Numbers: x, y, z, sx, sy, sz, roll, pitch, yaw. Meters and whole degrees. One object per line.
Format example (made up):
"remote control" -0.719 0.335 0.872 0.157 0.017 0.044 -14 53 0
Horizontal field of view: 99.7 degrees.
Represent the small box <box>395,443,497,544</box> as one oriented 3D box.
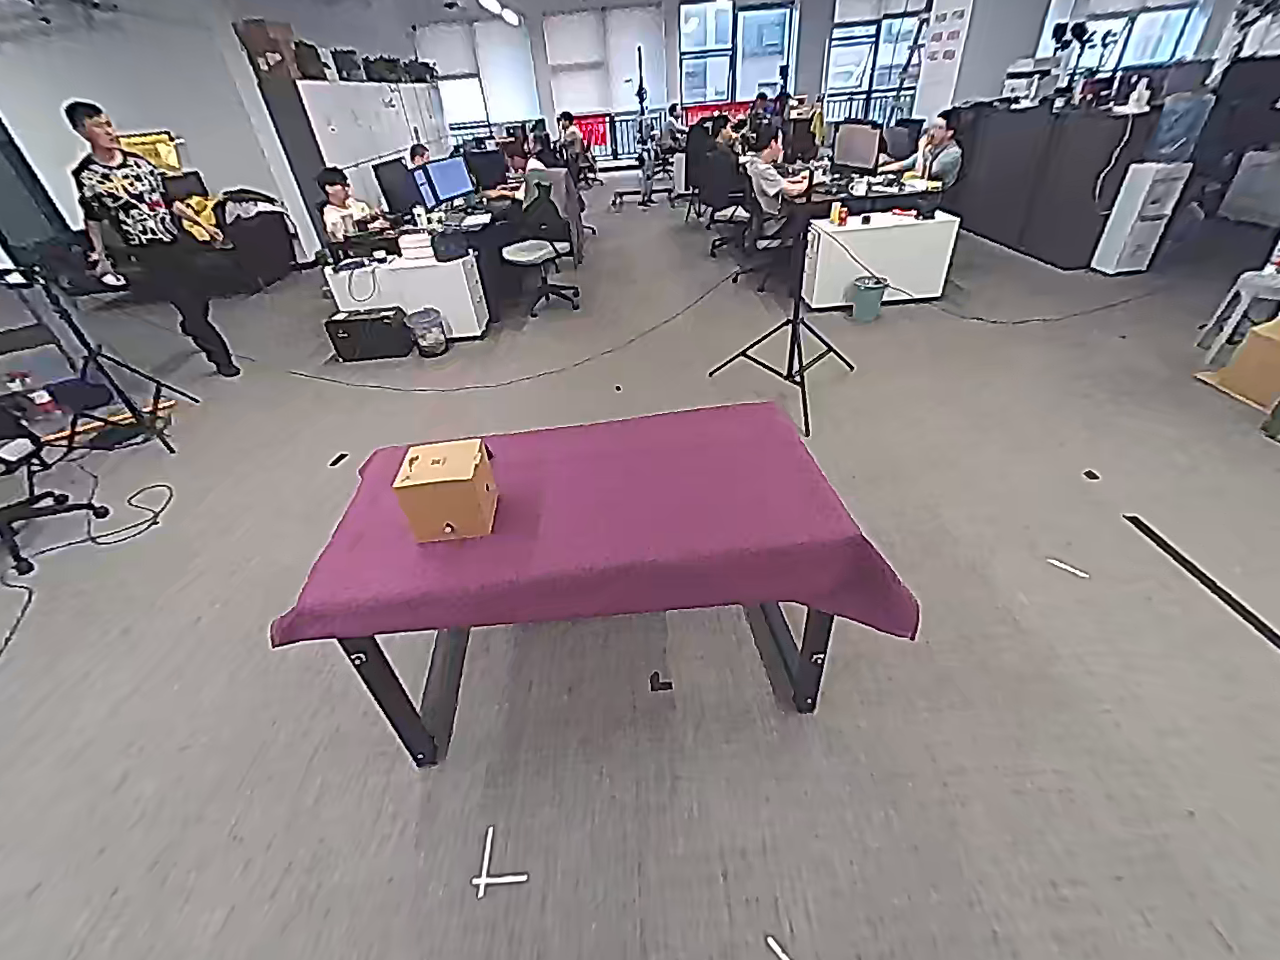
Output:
"small box" -0.447 0.033 1.281 0.179 0.176 0.168 -6 35 -2
